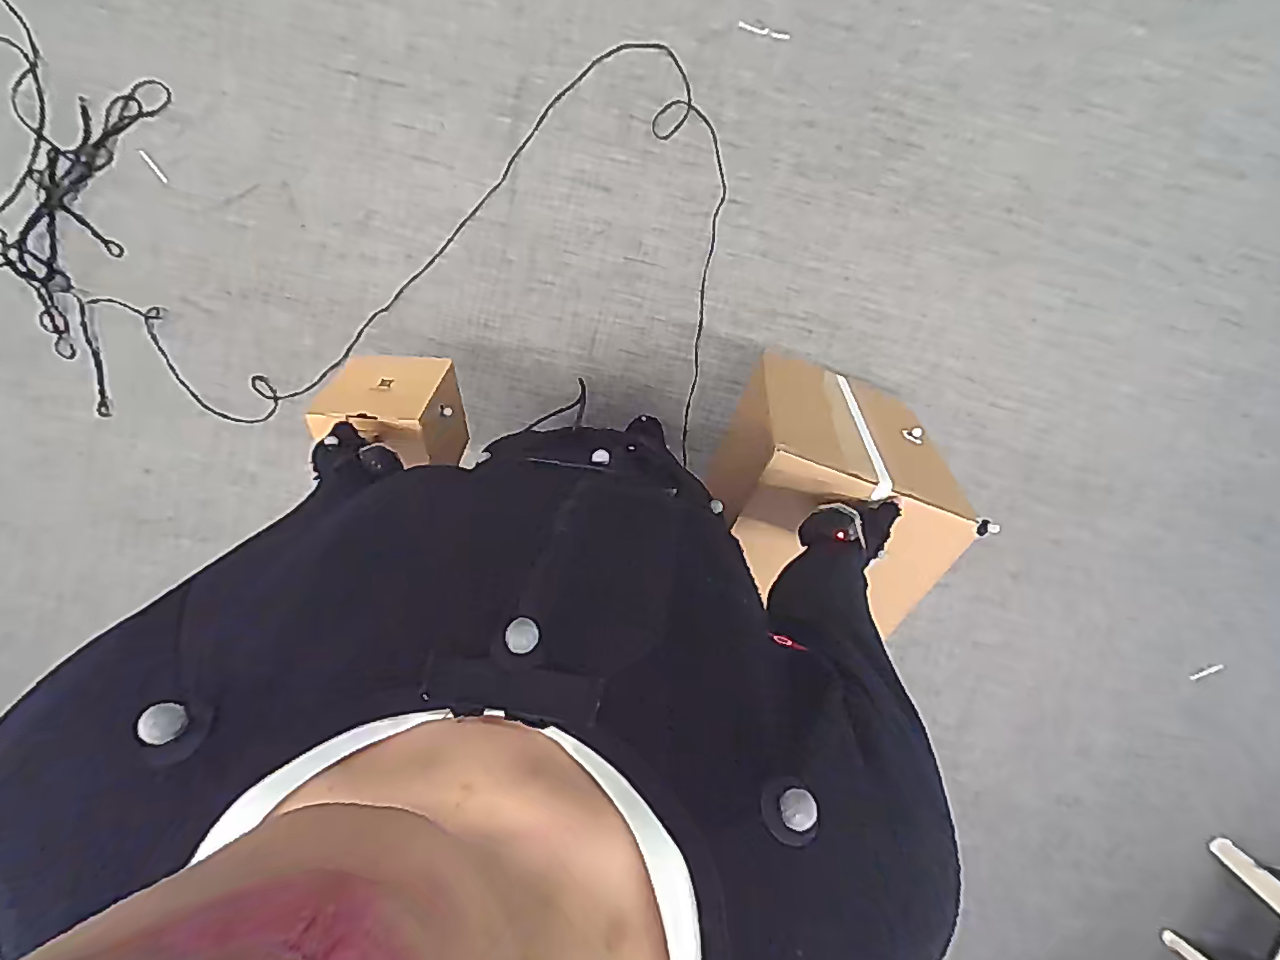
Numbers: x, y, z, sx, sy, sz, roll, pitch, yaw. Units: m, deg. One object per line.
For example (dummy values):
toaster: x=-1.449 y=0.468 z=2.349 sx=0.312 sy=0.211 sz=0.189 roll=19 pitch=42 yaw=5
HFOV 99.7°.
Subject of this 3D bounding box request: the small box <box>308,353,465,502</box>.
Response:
small box: x=-0.397 y=-0.087 z=0.887 sx=0.168 sy=0.179 sz=0.176 roll=3 pitch=133 yaw=-1
